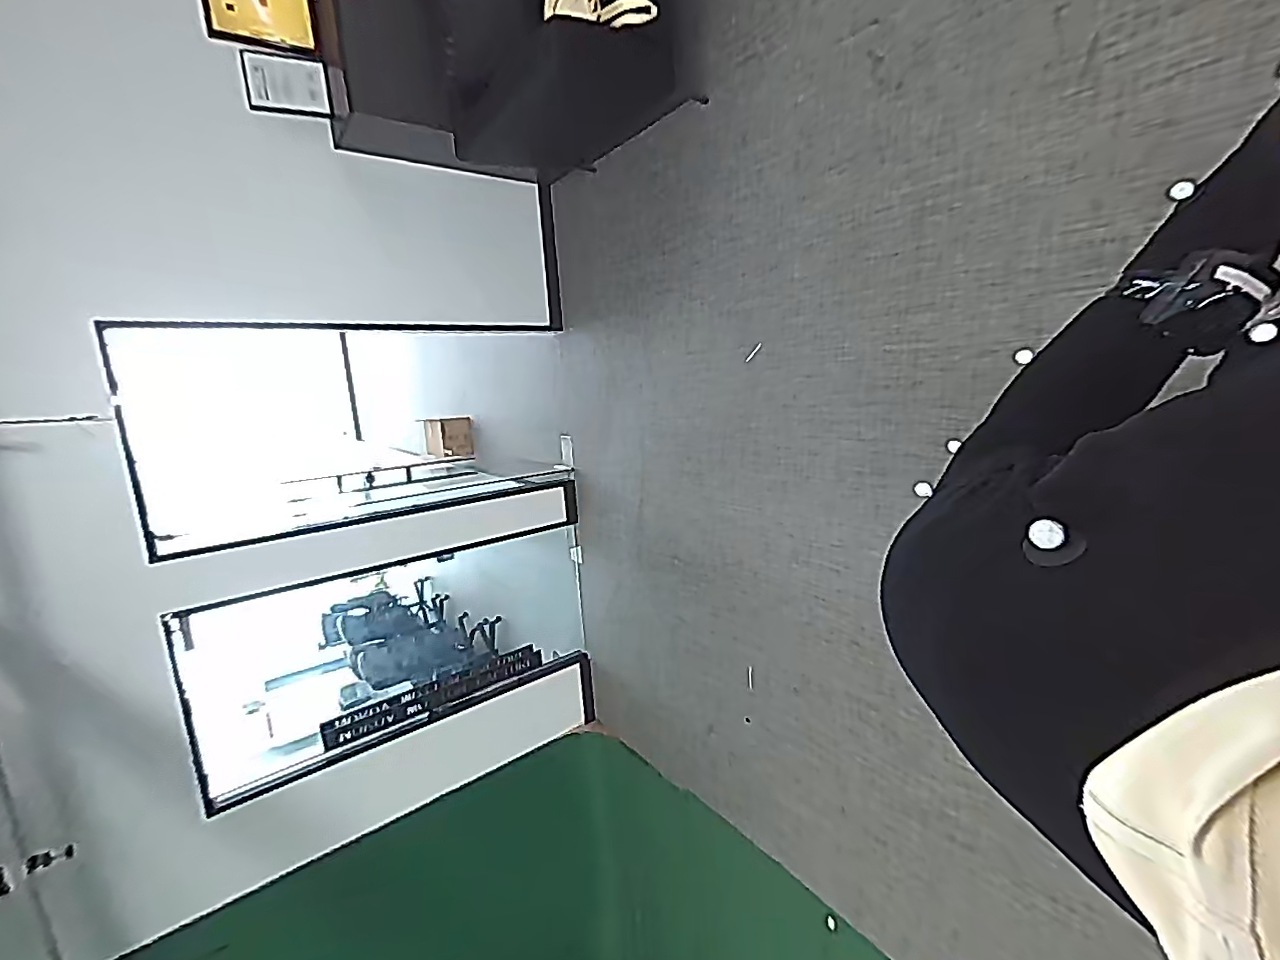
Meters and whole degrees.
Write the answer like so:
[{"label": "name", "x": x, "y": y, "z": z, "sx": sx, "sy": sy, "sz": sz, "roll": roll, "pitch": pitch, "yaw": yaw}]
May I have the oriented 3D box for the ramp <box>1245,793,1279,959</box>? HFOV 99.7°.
[{"label": "ramp", "x": 1.483, "y": 1.184, "z": 1.012, "sx": 0.509, "sy": 0.206, "sz": 0.991, "roll": 7, "pitch": 104, "yaw": 54}]
